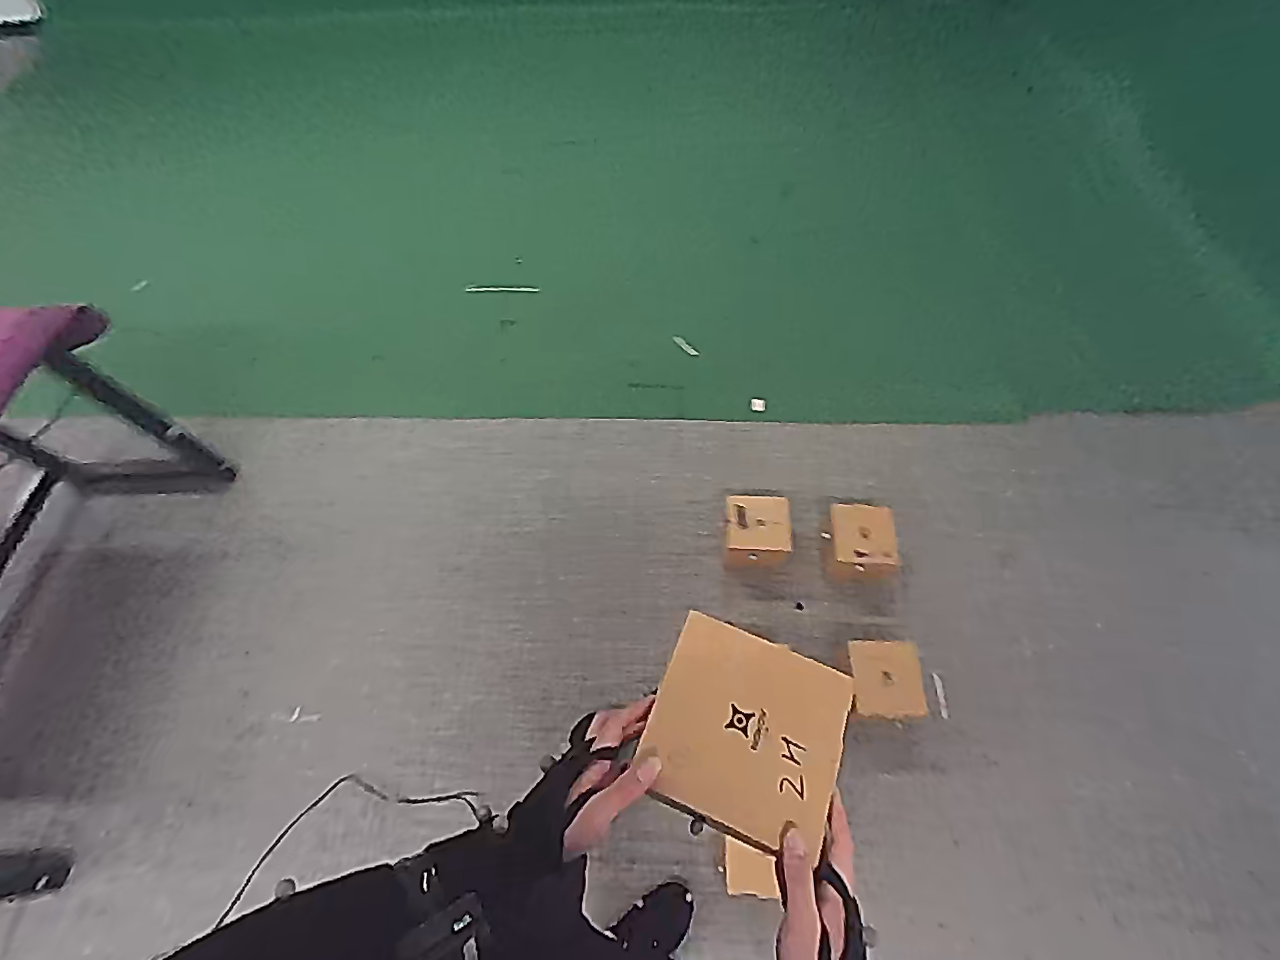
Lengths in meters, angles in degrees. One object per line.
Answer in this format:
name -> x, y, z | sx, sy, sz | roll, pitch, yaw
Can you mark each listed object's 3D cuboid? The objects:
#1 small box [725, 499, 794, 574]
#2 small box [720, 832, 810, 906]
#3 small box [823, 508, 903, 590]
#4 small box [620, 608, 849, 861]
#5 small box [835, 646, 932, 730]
small box -> 0.343, 0.170, 1.580 | 0.179, 0.176, 0.168 | 3, 61, 4
small box -> 0.271, 0.831, 1.217 | 0.168, 0.176, 0.179 | 0, 62, 3
small box -> 0.630, 0.200, 1.550 | 0.168, 0.176, 0.179 | 4, 60, 5
small box -> 0.087, 0.263, 0.562 | 0.179, 0.176, 0.168 | 21, 61, 9
small box -> 0.606, 0.529, 1.368 | 0.168, 0.176, 0.179 | 2, 61, 3
